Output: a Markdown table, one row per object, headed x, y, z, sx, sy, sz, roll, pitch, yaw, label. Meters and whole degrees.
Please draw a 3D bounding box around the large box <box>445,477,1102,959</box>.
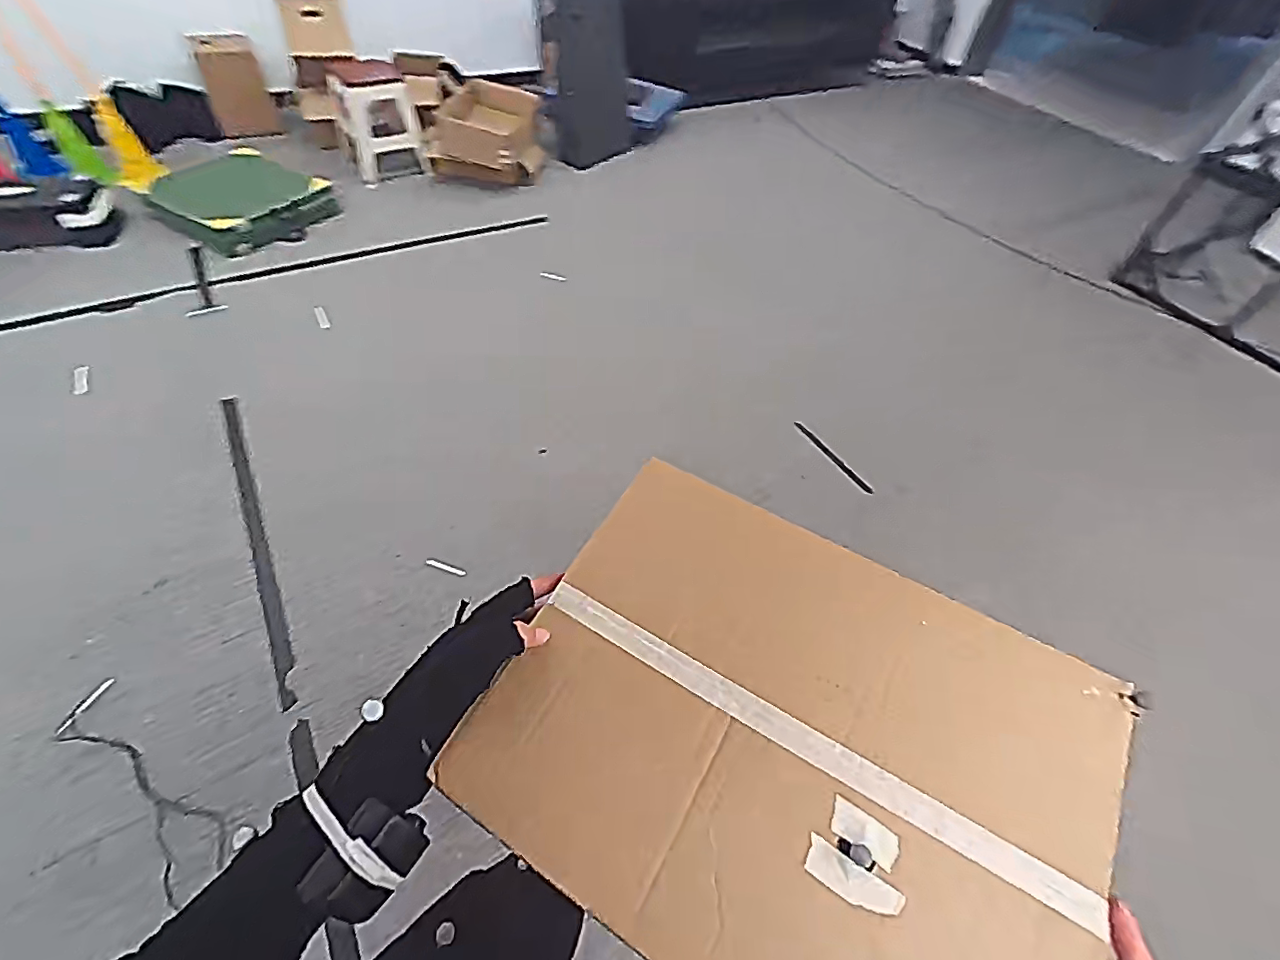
| x | y | z | sx | sy | sz | roll | pitch | yaw | label |
| --- | --- | --- | --- | --- | --- | --- | --- | --- | --- |
| 0.106 | 0.266 | 0.521 | 0.408 | 0.320 | 0.320 | 26 | 62 | 17 | large box |
